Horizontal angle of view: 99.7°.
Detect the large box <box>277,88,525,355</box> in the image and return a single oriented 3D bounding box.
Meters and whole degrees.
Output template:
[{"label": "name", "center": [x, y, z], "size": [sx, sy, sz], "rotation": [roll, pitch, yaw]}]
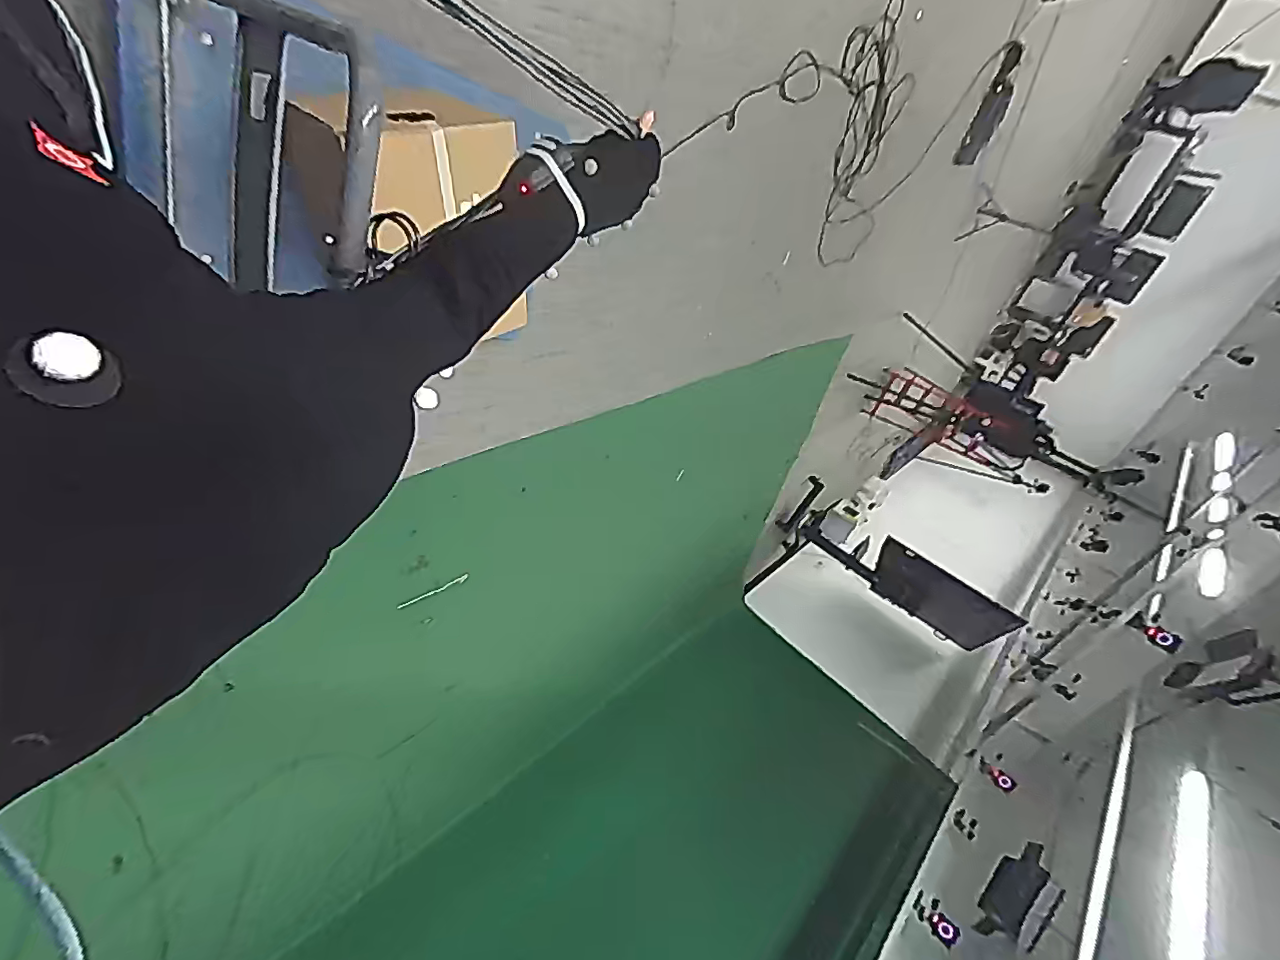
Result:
[{"label": "large box", "center": [-0.464, -0.536, 1.112], "size": [0.320, 0.320, 0.408], "rotation": [-31, 144, -33]}]
